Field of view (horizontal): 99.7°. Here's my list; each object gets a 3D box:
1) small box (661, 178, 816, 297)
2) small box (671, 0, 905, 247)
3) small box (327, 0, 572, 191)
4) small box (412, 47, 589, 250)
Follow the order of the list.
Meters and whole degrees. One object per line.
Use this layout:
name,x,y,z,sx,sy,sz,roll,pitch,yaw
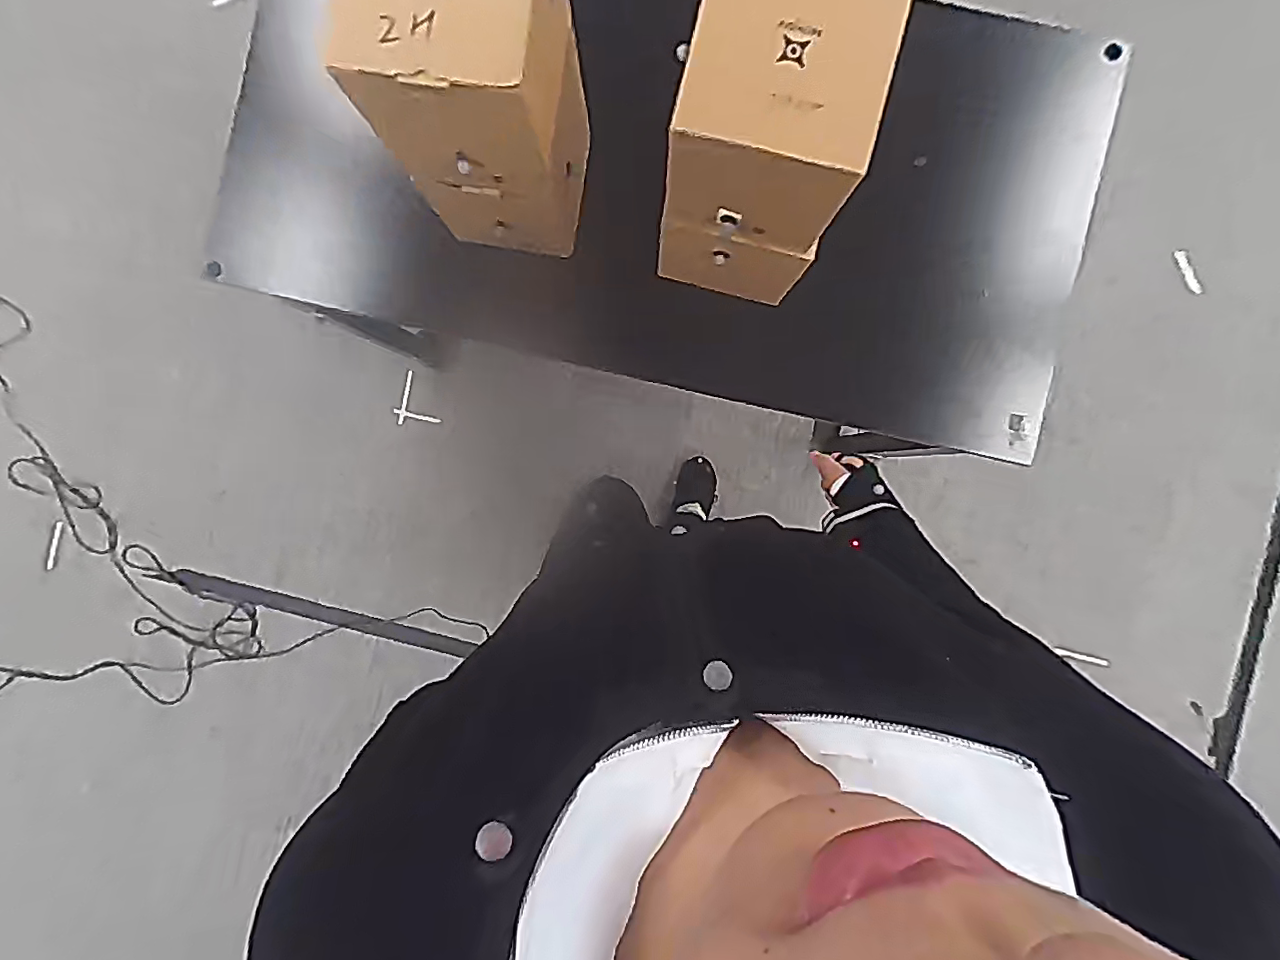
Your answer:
small box,0.128,-0.351,0.684,0.179,0.176,0.168,14,91,0
small box,0.126,-0.358,0.522,0.168,0.176,0.179,14,92,2
small box,-0.165,-0.418,0.522,0.168,0.176,0.179,7,91,1
small box,-0.164,-0.416,0.688,0.168,0.176,0.179,9,91,1
